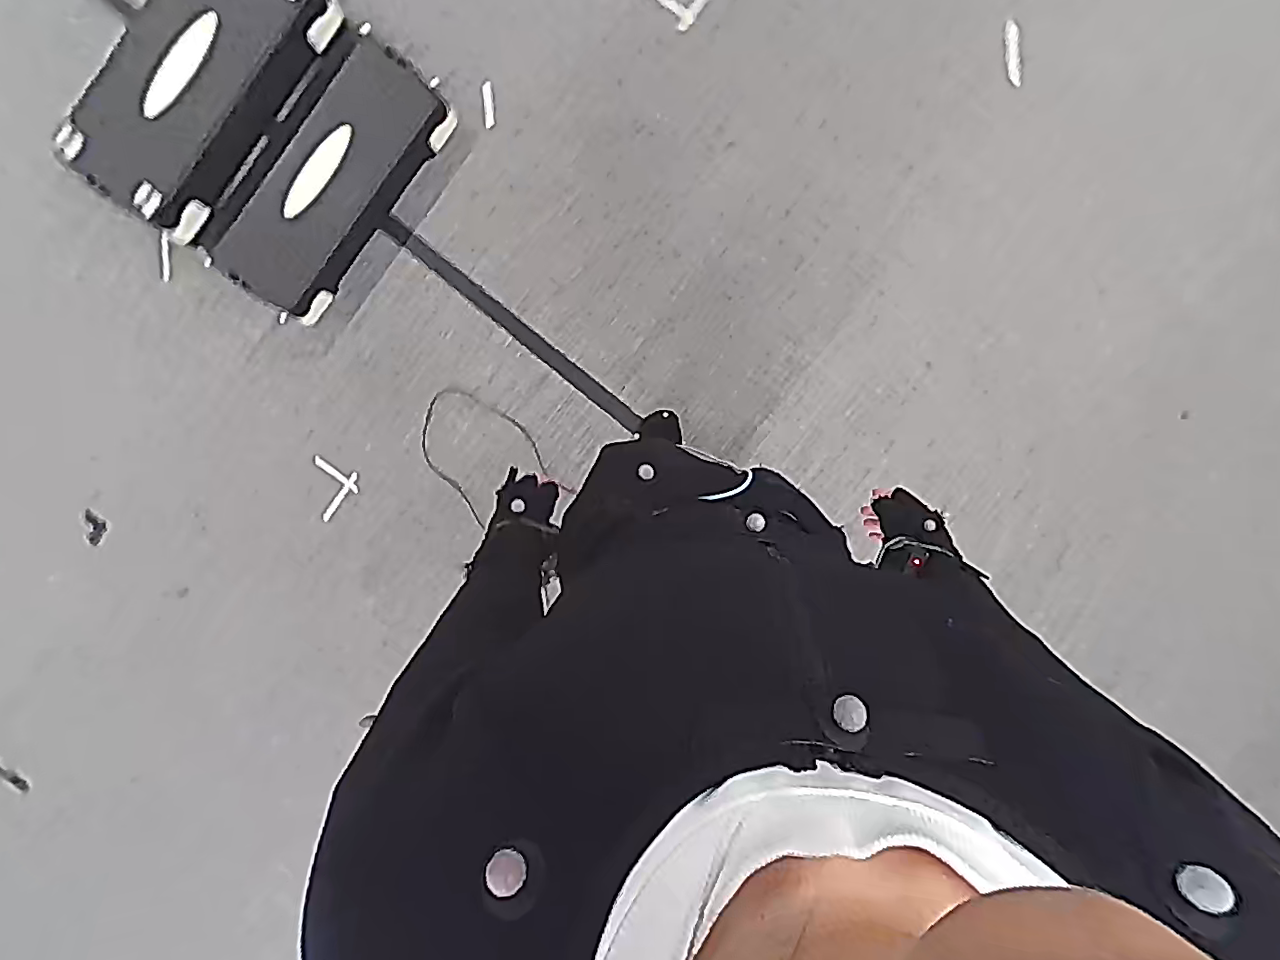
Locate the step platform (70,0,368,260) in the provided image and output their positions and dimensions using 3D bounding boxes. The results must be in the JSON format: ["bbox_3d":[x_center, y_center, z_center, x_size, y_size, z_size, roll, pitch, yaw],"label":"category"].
[{"bbox_3d":[-0.967,-0.877,1.260,0.286,0.204,0.684,37,93,-4],"label":"step platform"}]
